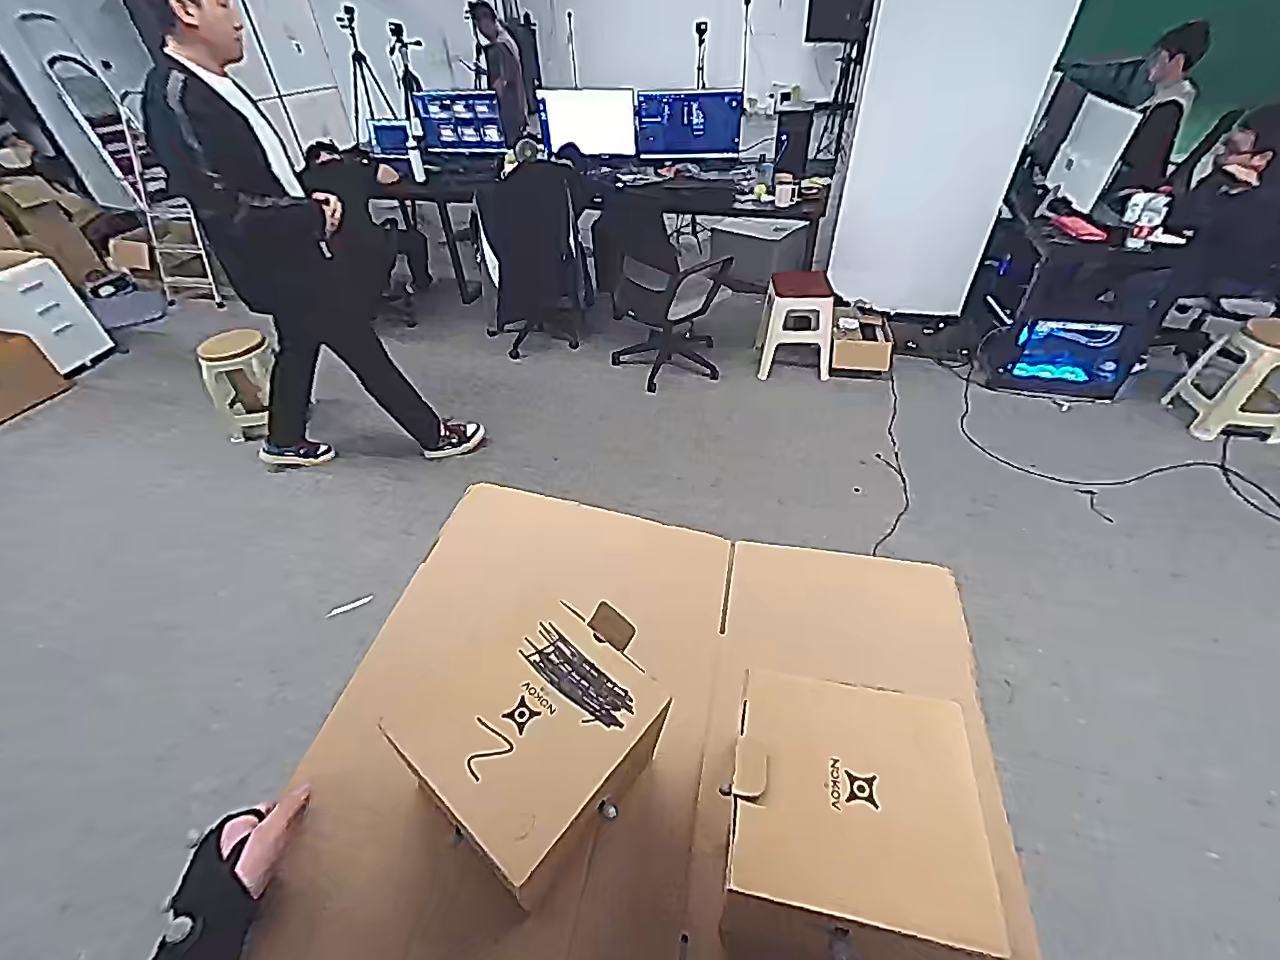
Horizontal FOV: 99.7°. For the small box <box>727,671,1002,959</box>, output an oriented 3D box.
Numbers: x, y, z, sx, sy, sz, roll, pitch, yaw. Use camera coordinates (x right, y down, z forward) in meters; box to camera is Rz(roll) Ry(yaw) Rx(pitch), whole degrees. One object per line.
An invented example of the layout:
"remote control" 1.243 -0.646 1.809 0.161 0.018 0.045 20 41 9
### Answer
"small box" 0.174 0.295 0.476 0.179 0.176 0.168 5 45 12
